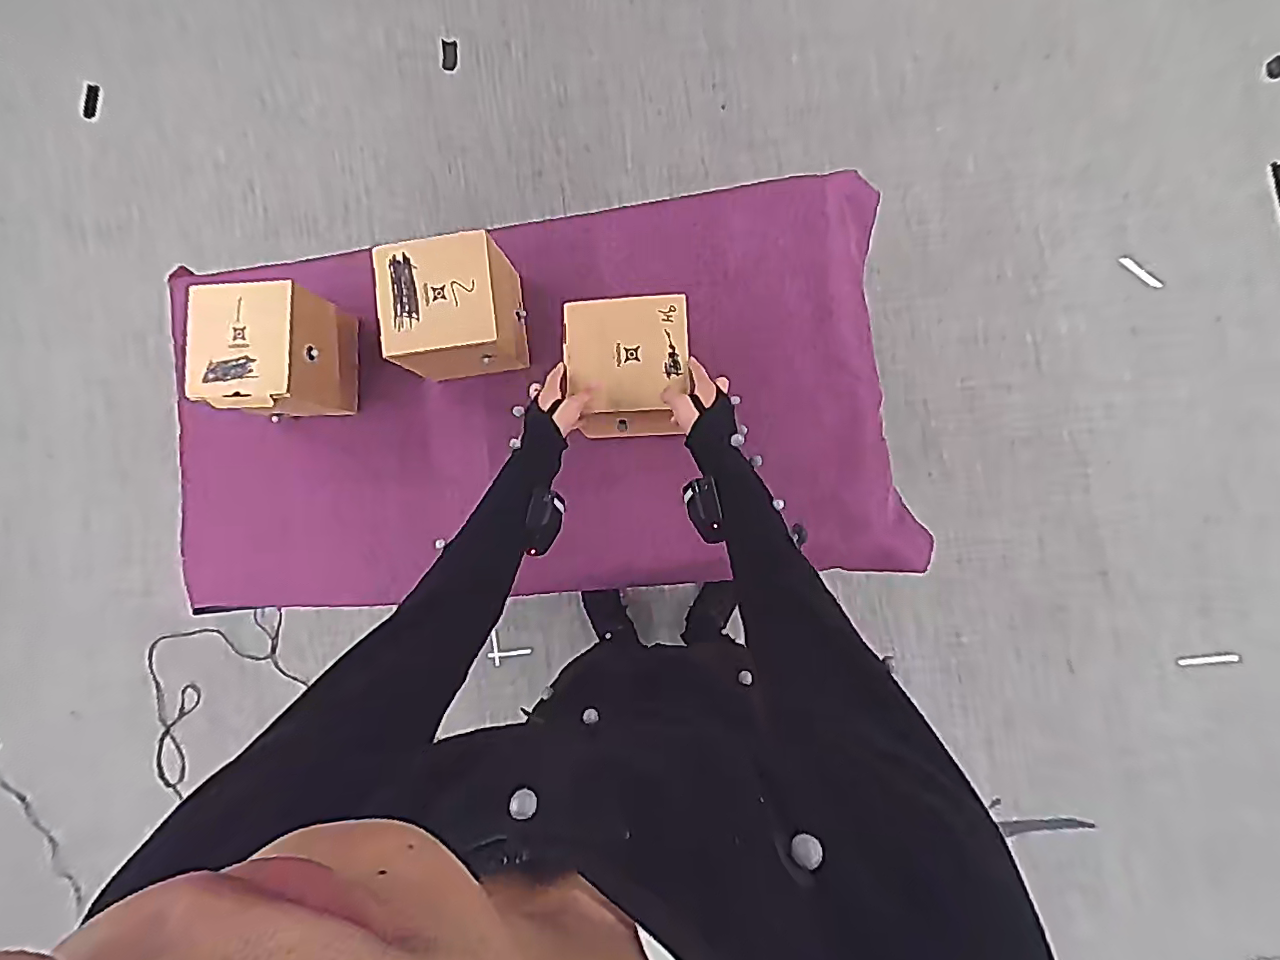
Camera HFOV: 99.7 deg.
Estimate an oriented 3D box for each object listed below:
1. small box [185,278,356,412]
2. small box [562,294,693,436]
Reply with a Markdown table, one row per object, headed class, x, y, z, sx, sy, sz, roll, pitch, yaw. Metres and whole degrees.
| class | x | y | z | sx | sy | sz | roll | pitch | yaw |
| --- | --- | --- | --- | --- | --- | --- | --- | --- | --- |
| small box | -0.585 | -0.207 | 0.877 | 0.168 | 0.176 | 0.179 | -1 | 87 | 5 |
| small box | -0.012 | -0.163 | 0.819 | 0.179 | 0.176 | 0.168 | -2 | 84 | 6 |
